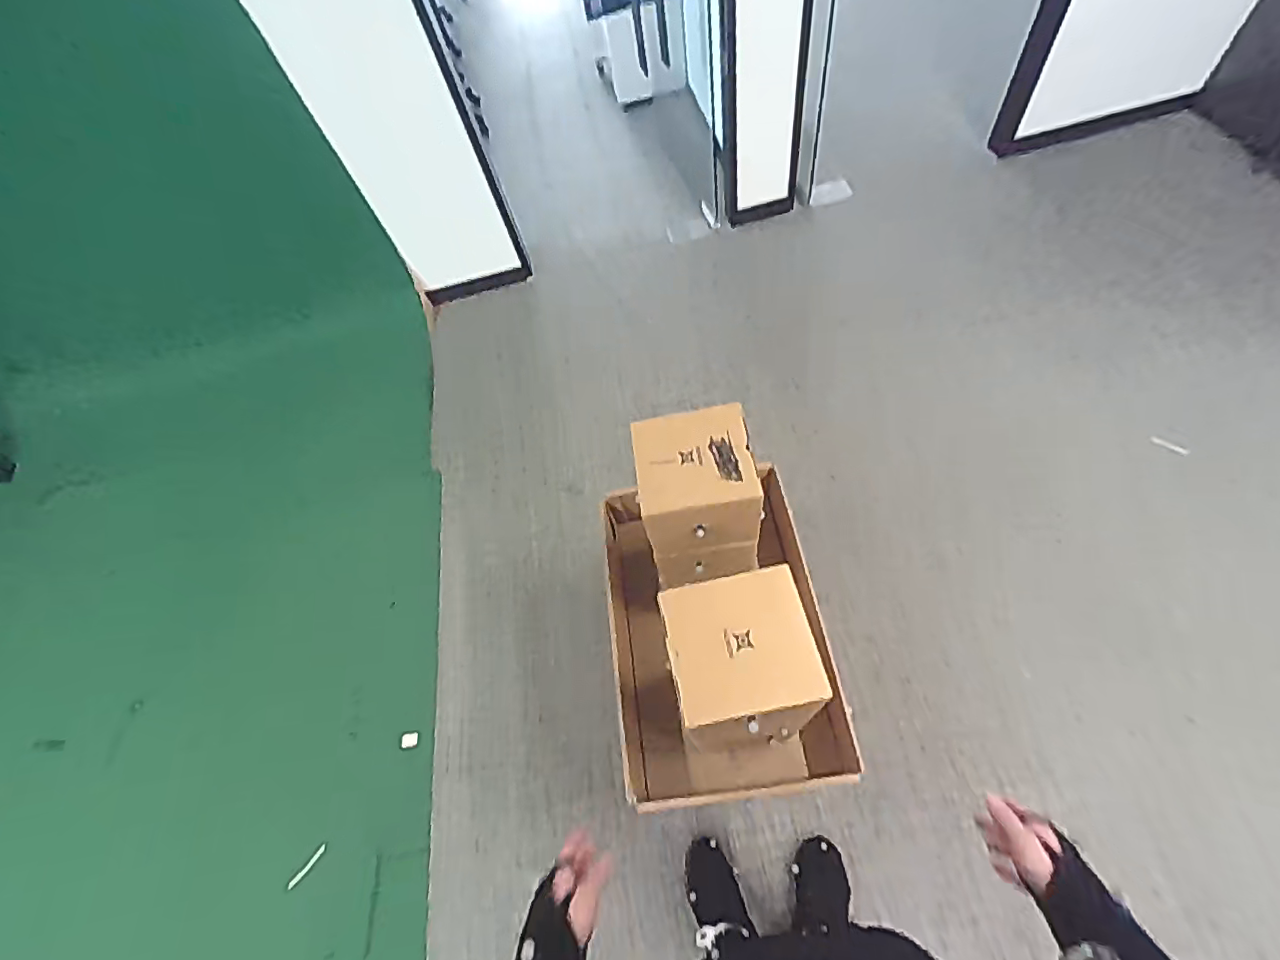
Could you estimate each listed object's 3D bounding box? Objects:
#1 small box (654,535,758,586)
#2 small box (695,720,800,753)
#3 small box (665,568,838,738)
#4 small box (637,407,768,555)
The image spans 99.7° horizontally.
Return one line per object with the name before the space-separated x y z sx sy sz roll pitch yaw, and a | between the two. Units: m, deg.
small box | 0.119 0.089 1.008 0.179 0.176 0.168 -9 61 5
small box | 0.181 0.401 1.003 0.179 0.176 0.168 -11 58 3
small box | 0.139 0.237 0.724 0.179 0.176 0.168 -13 59 2
small box | 0.097 0.008 0.866 0.179 0.176 0.168 -9 60 5
